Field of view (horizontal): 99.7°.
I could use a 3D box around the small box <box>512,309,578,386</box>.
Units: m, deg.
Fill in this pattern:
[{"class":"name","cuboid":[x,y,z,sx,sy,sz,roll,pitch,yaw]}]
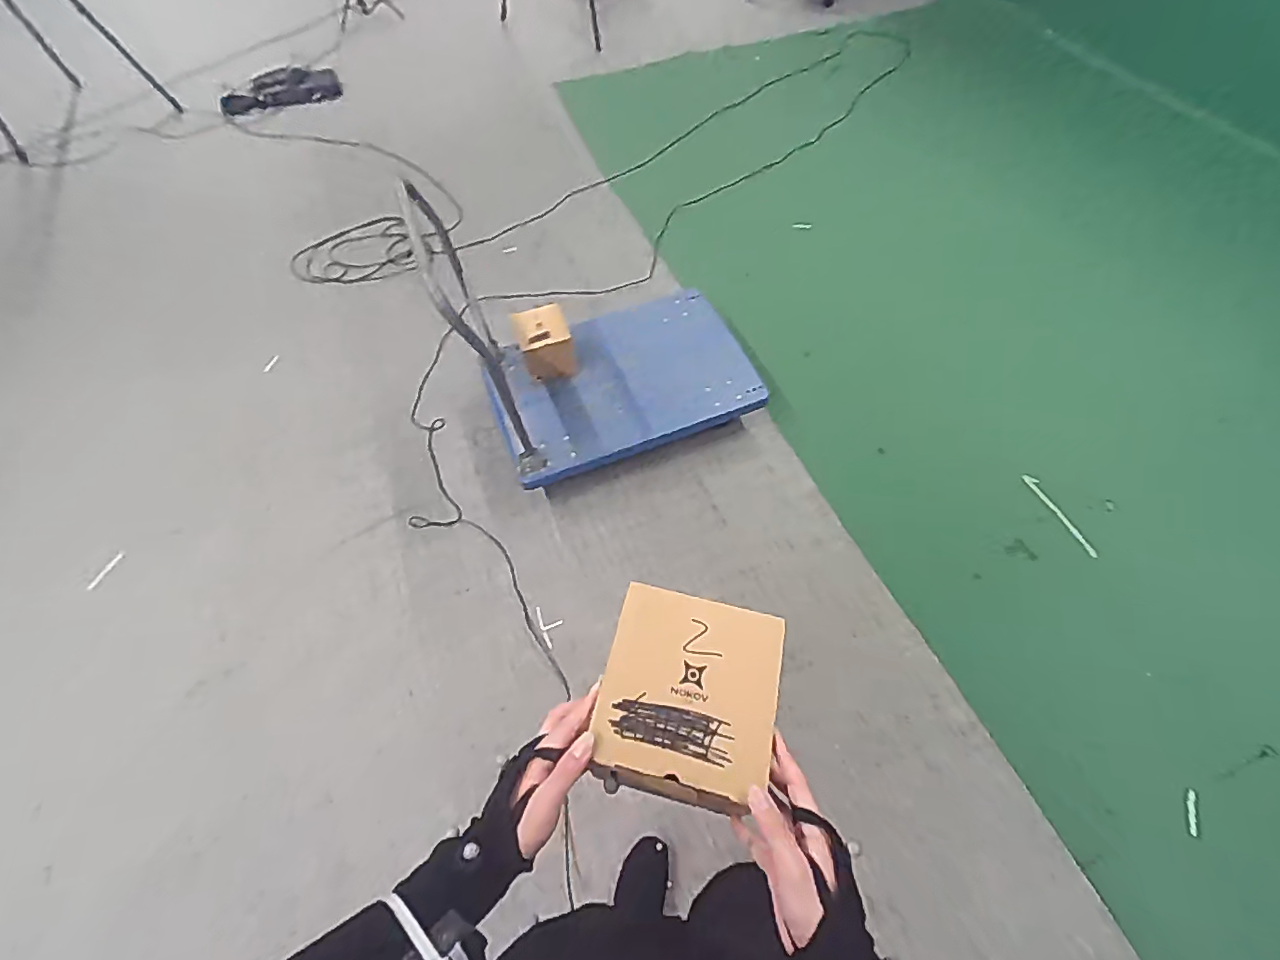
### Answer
[{"class":"small box","cuboid":[-0.312,-0.432,1.799,0.168,0.176,0.179,-17,60,-10]}]
